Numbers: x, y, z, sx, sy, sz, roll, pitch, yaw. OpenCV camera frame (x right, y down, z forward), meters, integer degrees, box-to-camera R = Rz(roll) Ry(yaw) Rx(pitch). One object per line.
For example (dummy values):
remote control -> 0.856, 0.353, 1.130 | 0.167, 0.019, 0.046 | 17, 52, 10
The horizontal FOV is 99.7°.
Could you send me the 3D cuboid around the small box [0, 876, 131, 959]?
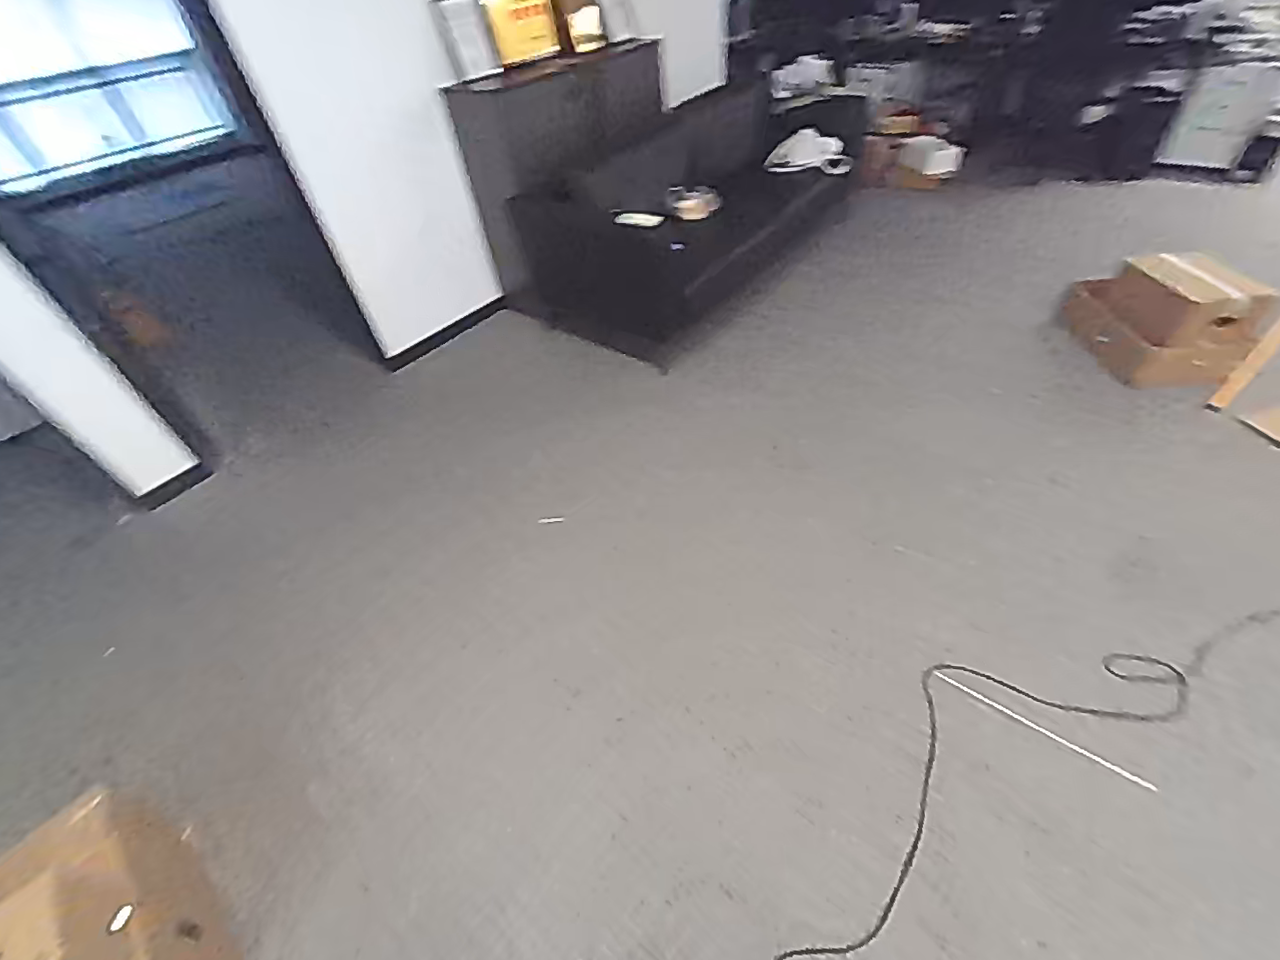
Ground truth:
small box -> -1.000, 0.817, 0.895 | 0.179, 0.176, 0.168 | 30, 55, 35
